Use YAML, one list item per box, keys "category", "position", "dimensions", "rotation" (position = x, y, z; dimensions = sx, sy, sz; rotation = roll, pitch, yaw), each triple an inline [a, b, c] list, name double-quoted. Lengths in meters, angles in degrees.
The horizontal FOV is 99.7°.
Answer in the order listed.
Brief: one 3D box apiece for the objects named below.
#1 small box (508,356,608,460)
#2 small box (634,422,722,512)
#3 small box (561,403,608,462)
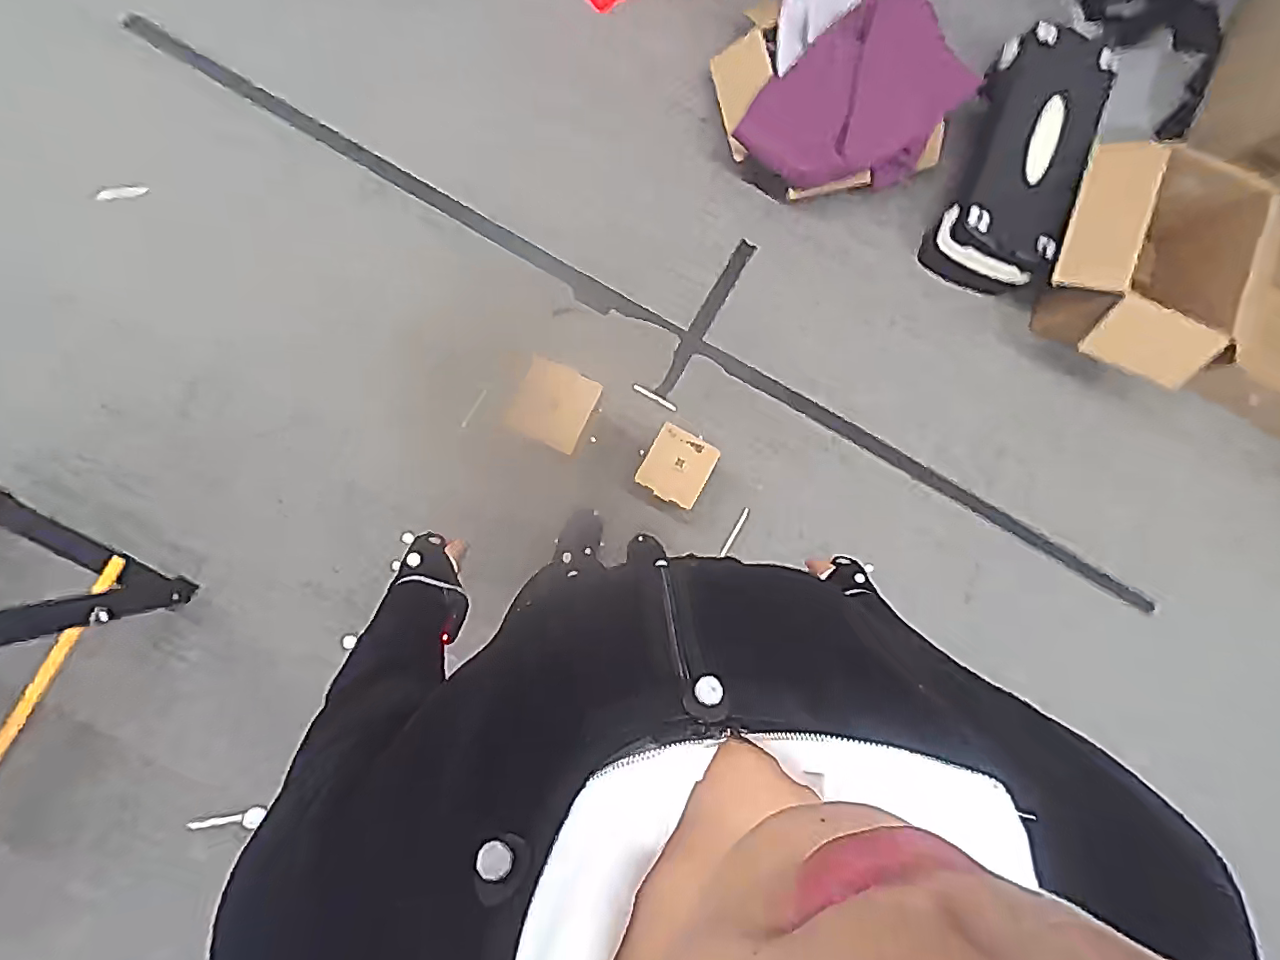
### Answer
- category: "small box"
  position: [-0.186, -0.159, 1.264]
  dimensions: [0.168, 0.176, 0.179]
  rotation: [26, 87, -1]
- category: "small box"
  position: [0.094, -0.030, 1.443]
  dimensions: [0.168, 0.176, 0.179]
  rotation: [30, 86, -2]
- category: "small box"
  position: [-0.199, -0.156, 1.426]
  dimensions: [0.179, 0.176, 0.168]
  rotation: [28, 86, -3]
